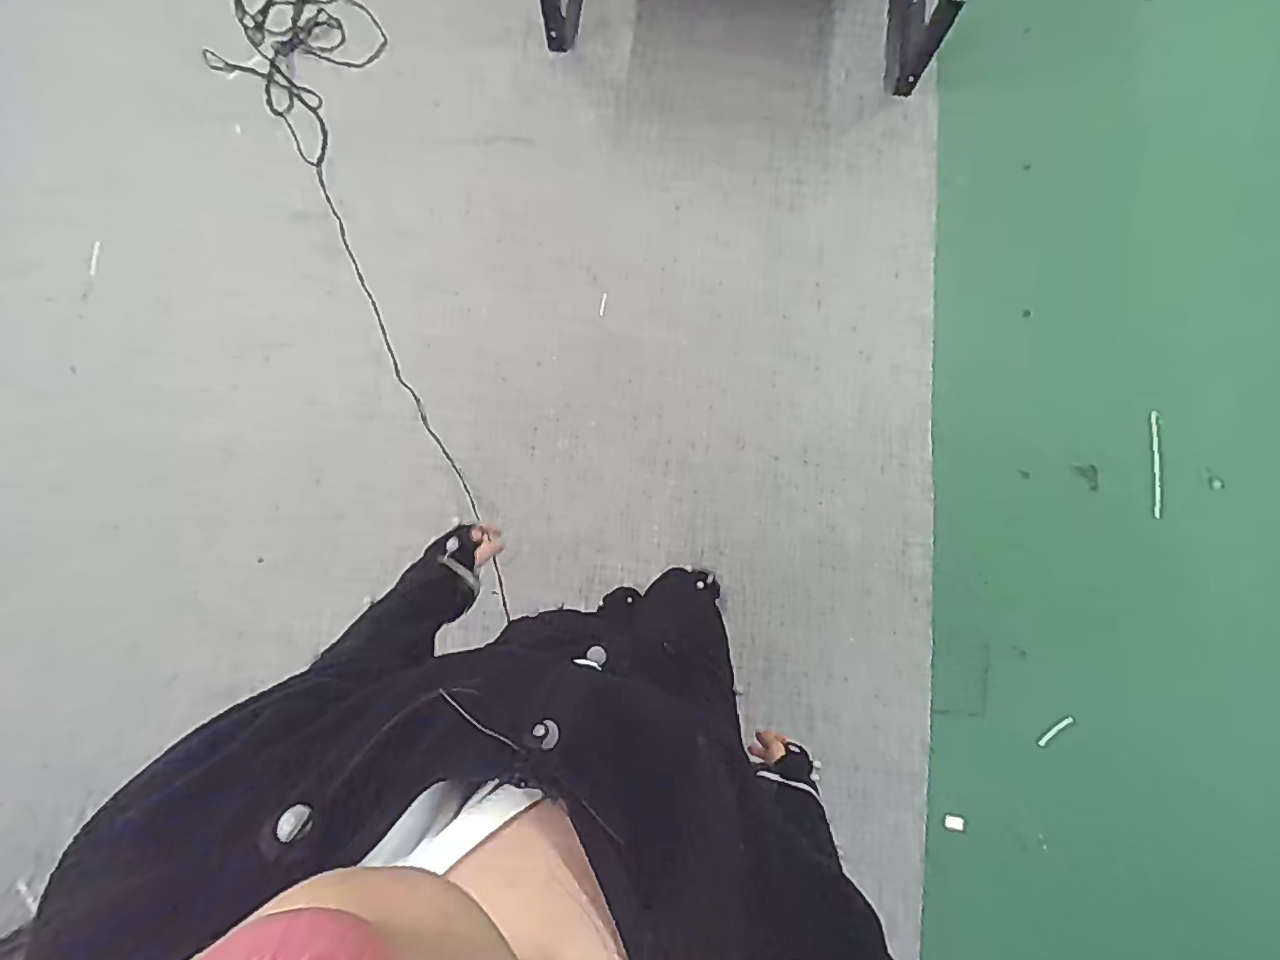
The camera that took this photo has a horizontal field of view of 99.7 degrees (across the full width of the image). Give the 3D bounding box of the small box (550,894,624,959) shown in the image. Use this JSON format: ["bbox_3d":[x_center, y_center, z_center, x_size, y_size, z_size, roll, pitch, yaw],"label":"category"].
[{"bbox_3d":[-0.131,1.146,1.305,0.168,0.176,0.179,6,82,0],"label":"small box"}]
